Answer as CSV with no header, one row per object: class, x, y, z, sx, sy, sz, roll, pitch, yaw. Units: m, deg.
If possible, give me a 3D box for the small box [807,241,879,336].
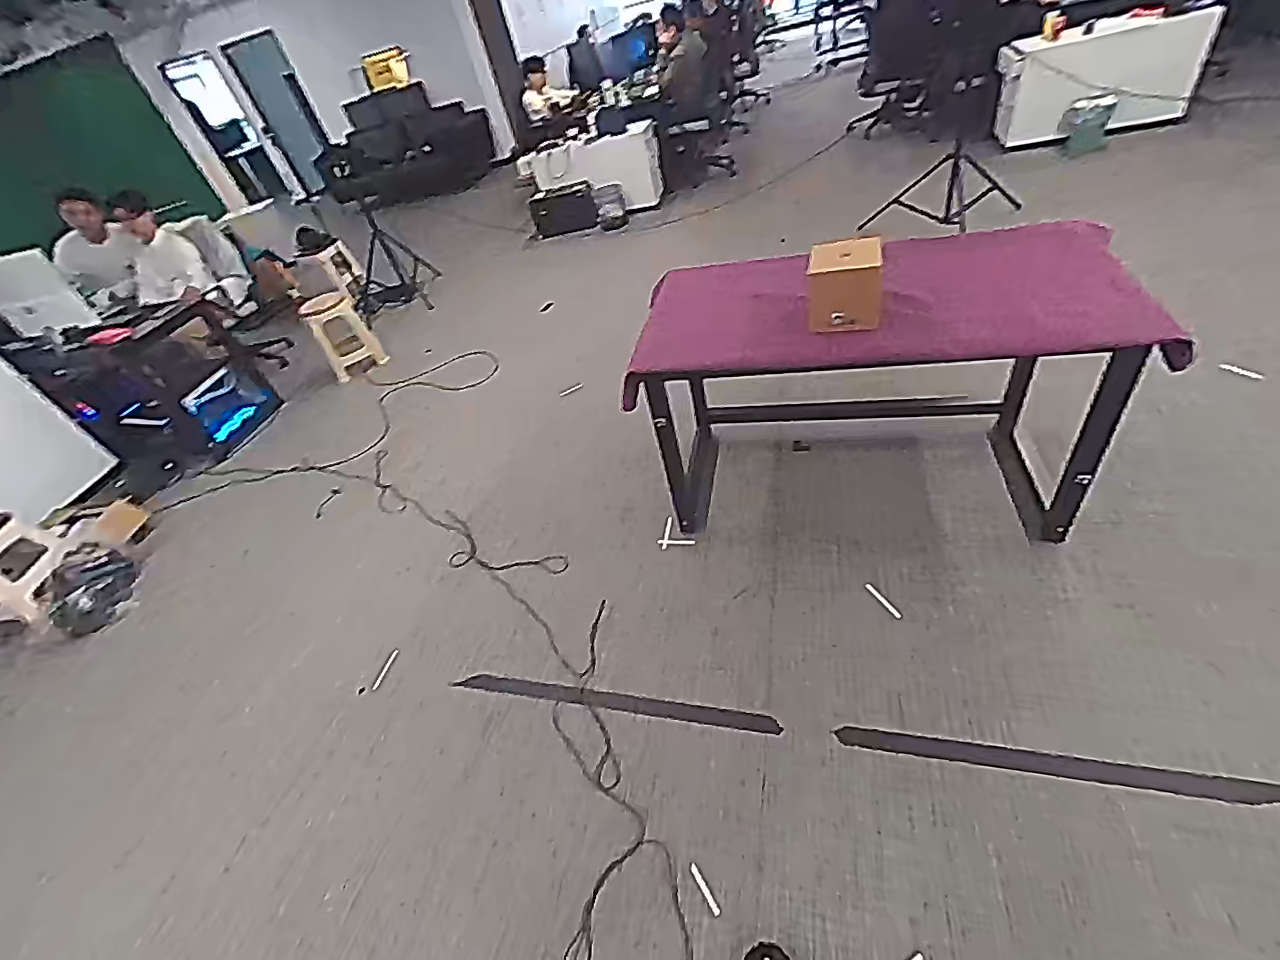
small box,0.522,-0.492,1.397,0.168,0.176,0.179,1,44,20
